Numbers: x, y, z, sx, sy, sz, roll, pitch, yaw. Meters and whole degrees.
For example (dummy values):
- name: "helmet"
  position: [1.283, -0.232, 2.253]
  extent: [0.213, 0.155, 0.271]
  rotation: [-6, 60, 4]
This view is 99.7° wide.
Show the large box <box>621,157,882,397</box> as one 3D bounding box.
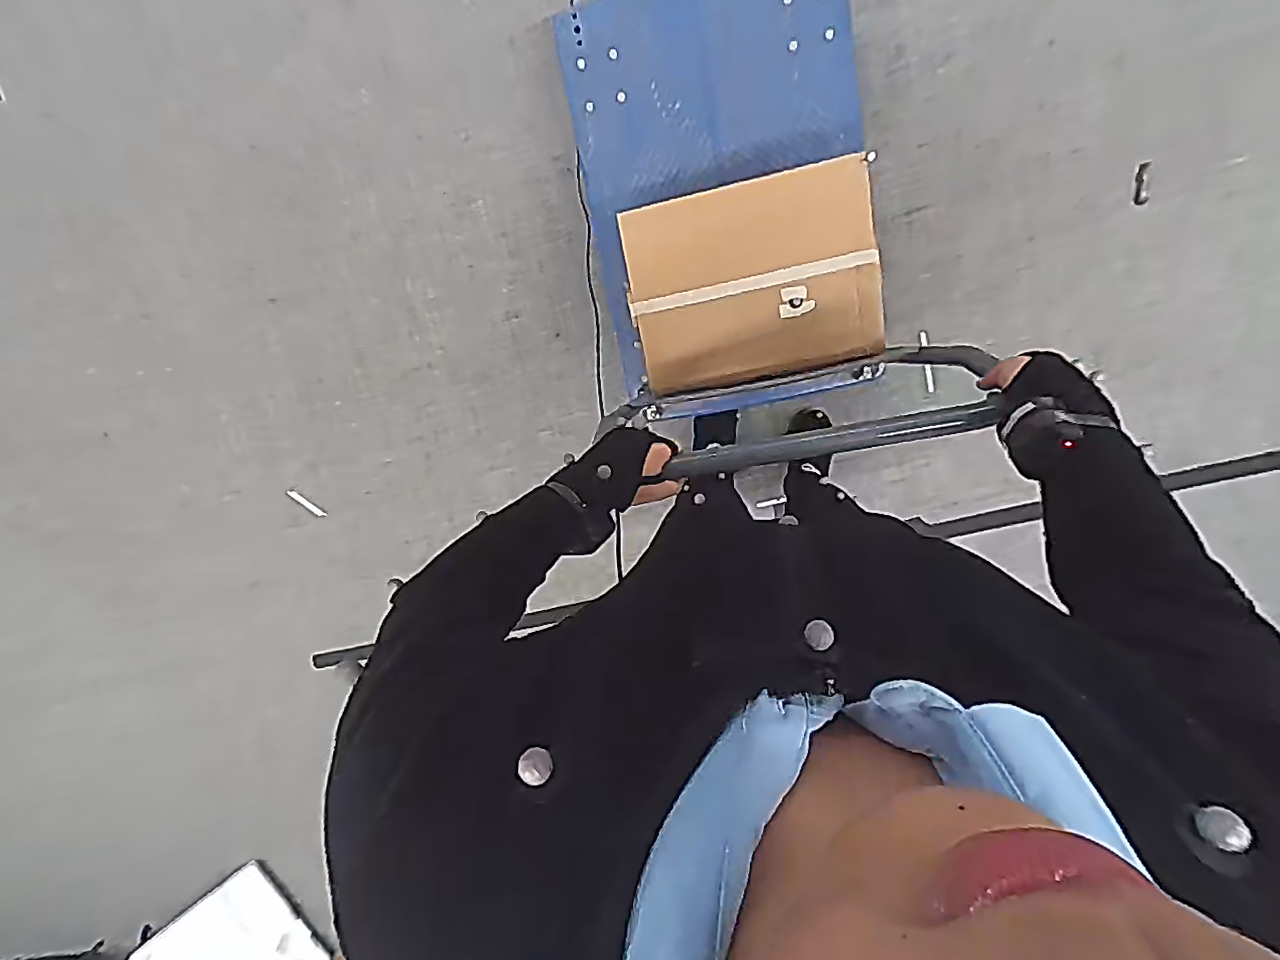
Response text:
- name: "large box"
  position: [0.205, -0.365, 1.060]
  extent: [0.408, 0.320, 0.320]
  rotation: [-10, 103, 9]
